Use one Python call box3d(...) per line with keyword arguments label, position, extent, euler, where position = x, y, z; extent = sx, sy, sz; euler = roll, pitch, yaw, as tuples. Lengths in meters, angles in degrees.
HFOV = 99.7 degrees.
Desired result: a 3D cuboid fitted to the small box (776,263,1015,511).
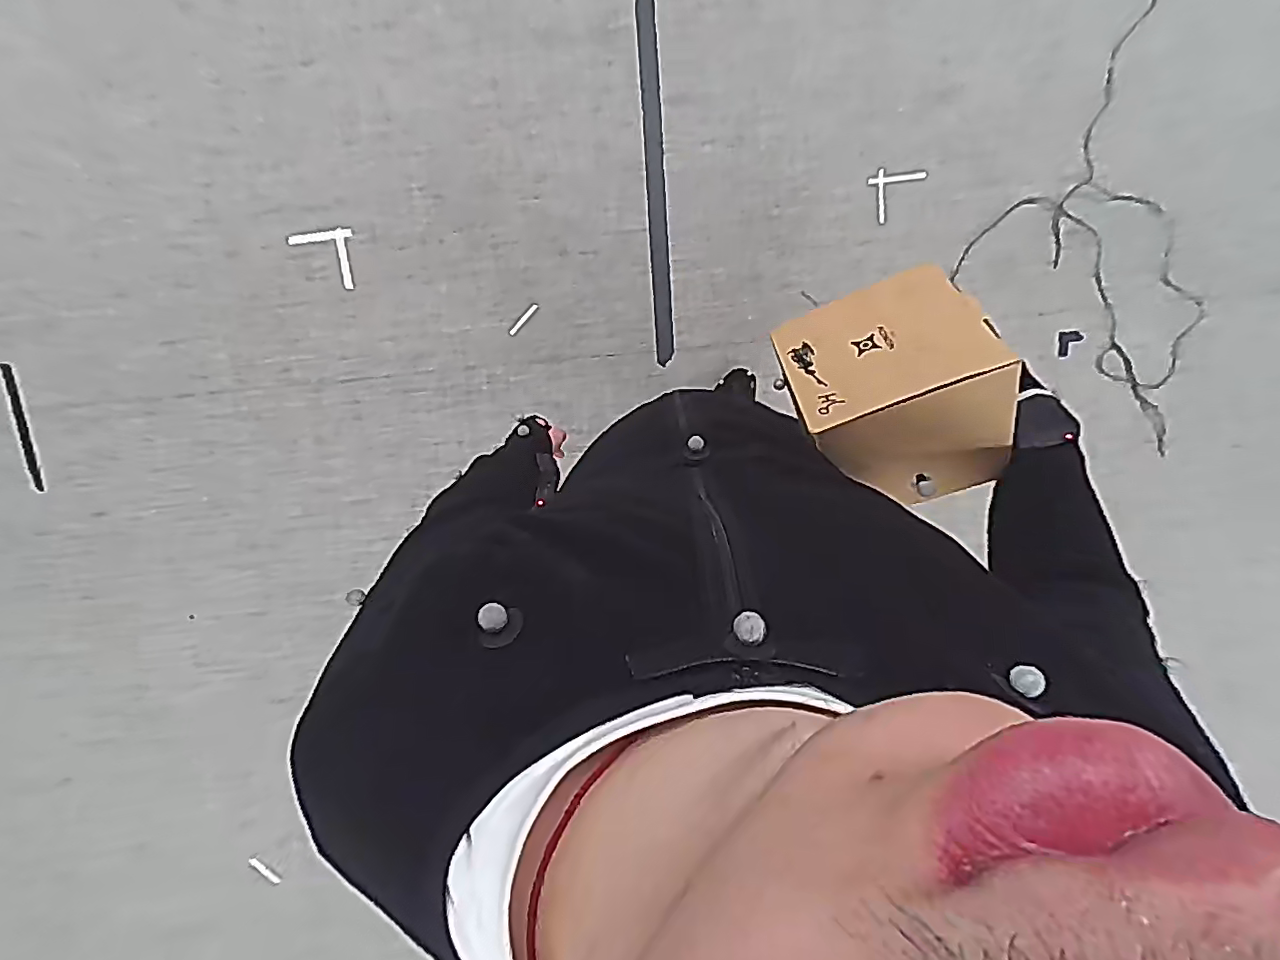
box3d(label="small box", position=(0.268, -0.093, 0.590), extent=(0.179, 0.168, 0.176), euler=(-20, 137, 15))
